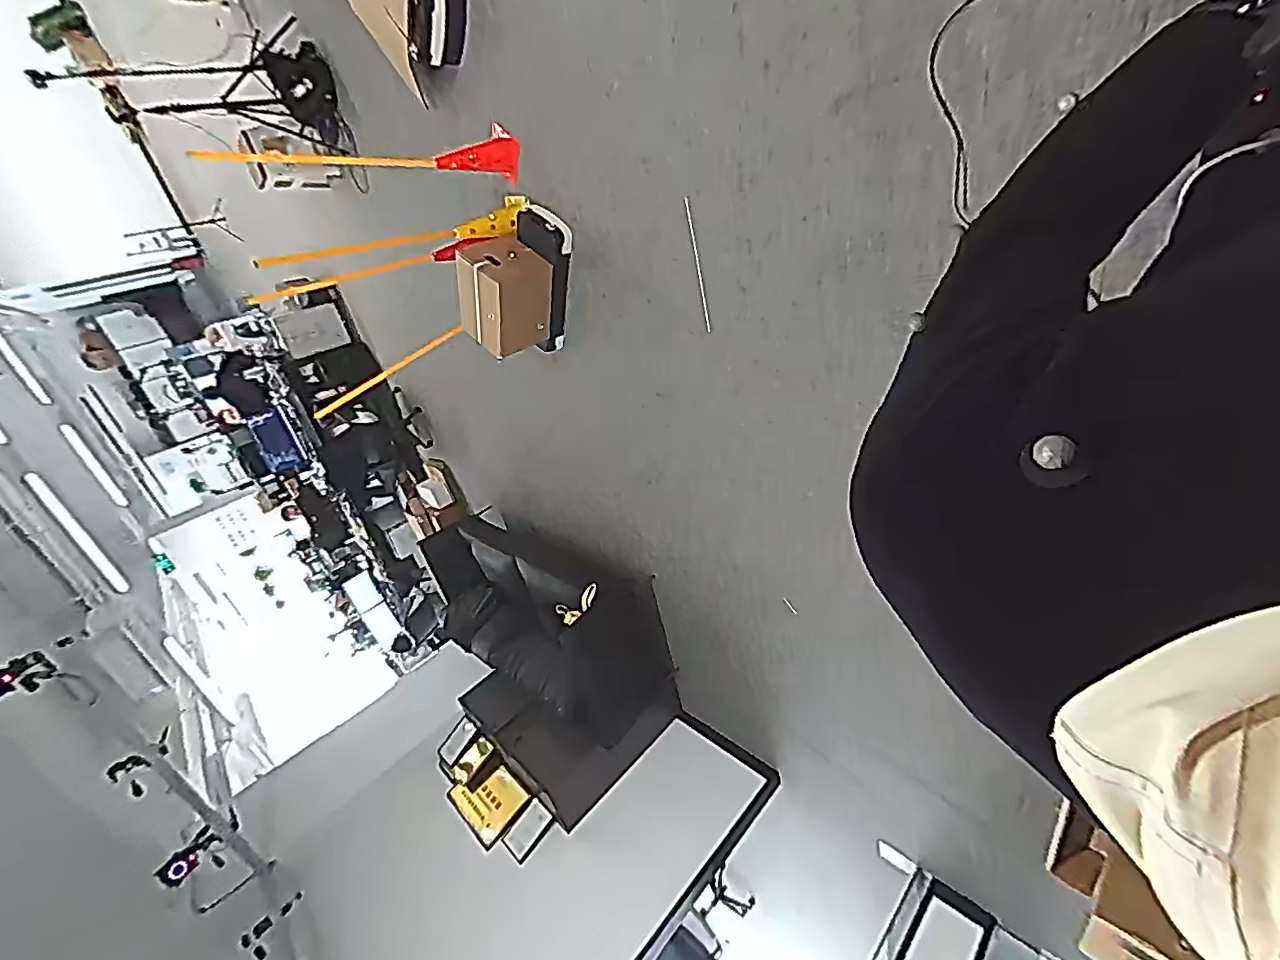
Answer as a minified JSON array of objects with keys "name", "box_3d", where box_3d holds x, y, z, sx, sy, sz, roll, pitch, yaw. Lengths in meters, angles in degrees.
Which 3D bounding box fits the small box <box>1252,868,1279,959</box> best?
[{"name":"small box","box_3d":[1.379,0.935,1.077,0.179,0.176,0.168,18,131,46]}]

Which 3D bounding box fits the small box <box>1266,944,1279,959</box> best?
[{"name":"small box","box_3d":[1.263,1.009,0.987,0.179,0.176,0.168,15,129,46]}]
